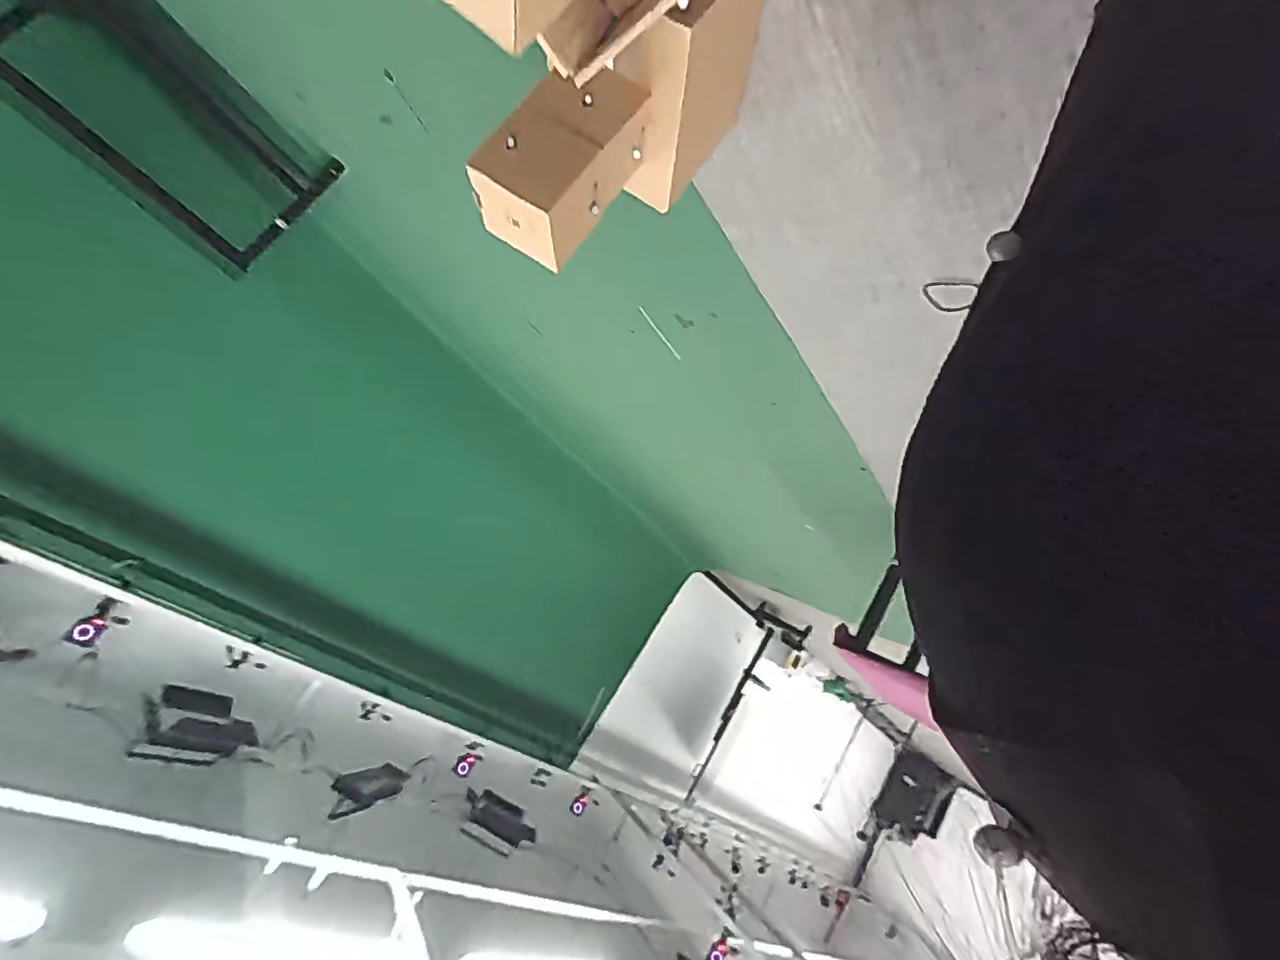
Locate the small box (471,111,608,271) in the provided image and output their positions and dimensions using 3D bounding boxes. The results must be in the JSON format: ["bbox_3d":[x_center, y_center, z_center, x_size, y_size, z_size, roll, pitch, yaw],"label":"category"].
[{"bbox_3d":[-0.178,-0.539,1.007,0.179,0.176,0.168,33,167,5],"label":"small box"}]

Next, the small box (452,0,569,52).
[{"bbox_3d":[-0.118,-0.535,0.449,0.168,0.176,0.179,36,167,-5],"label":"small box"}]

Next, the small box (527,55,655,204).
[{"bbox_3d":[-0.095,-0.672,1.052,0.179,0.176,0.168,33,166,2],"label":"small box"}]
